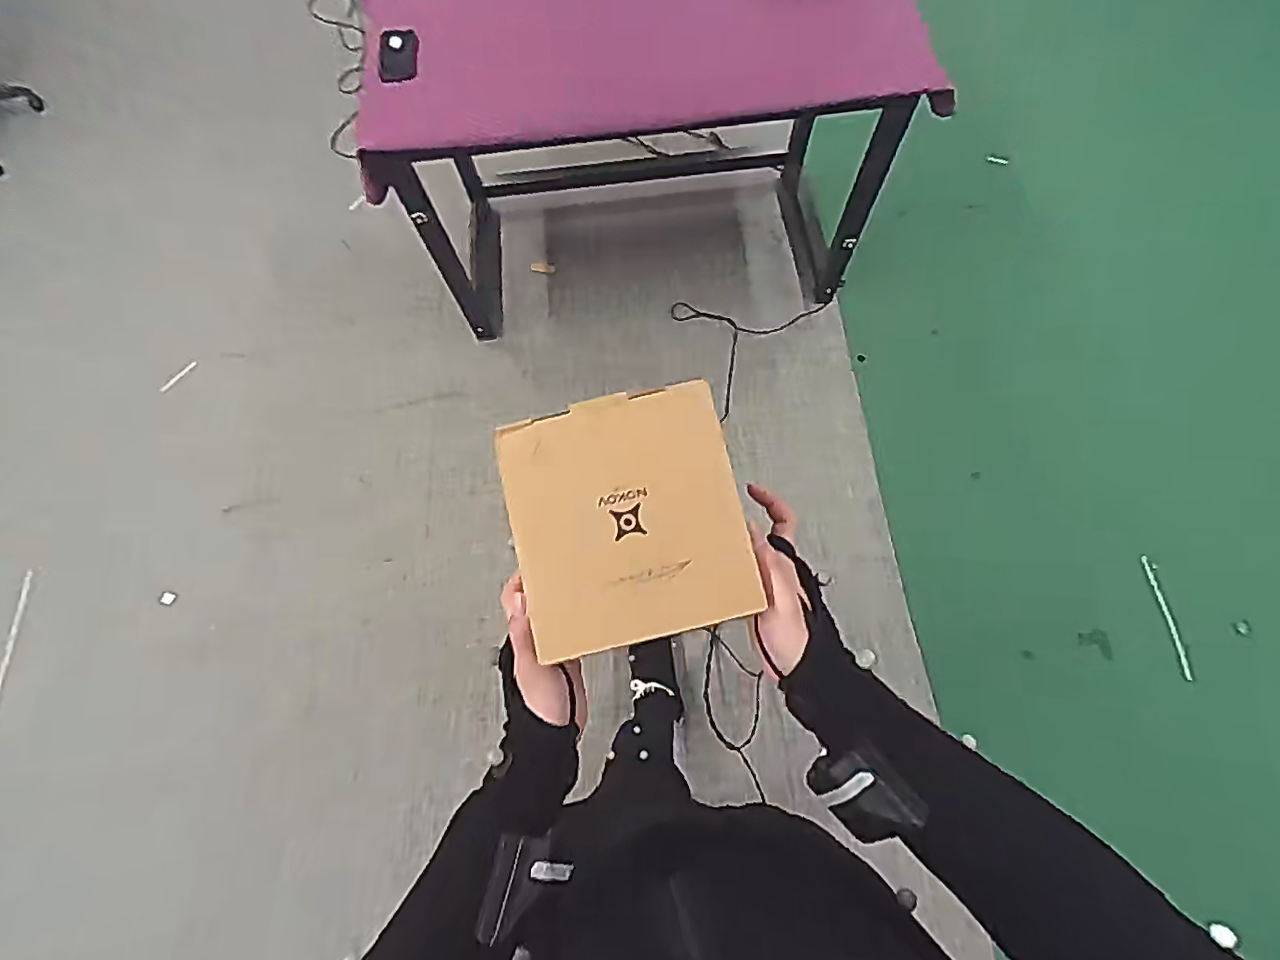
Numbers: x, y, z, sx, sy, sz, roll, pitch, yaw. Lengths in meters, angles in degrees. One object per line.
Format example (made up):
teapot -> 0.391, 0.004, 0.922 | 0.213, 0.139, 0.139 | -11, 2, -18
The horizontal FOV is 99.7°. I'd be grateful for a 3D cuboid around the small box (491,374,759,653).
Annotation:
small box -> -0.012, 0.033, 0.466 | 0.168, 0.176, 0.179 | -13, 82, 0
